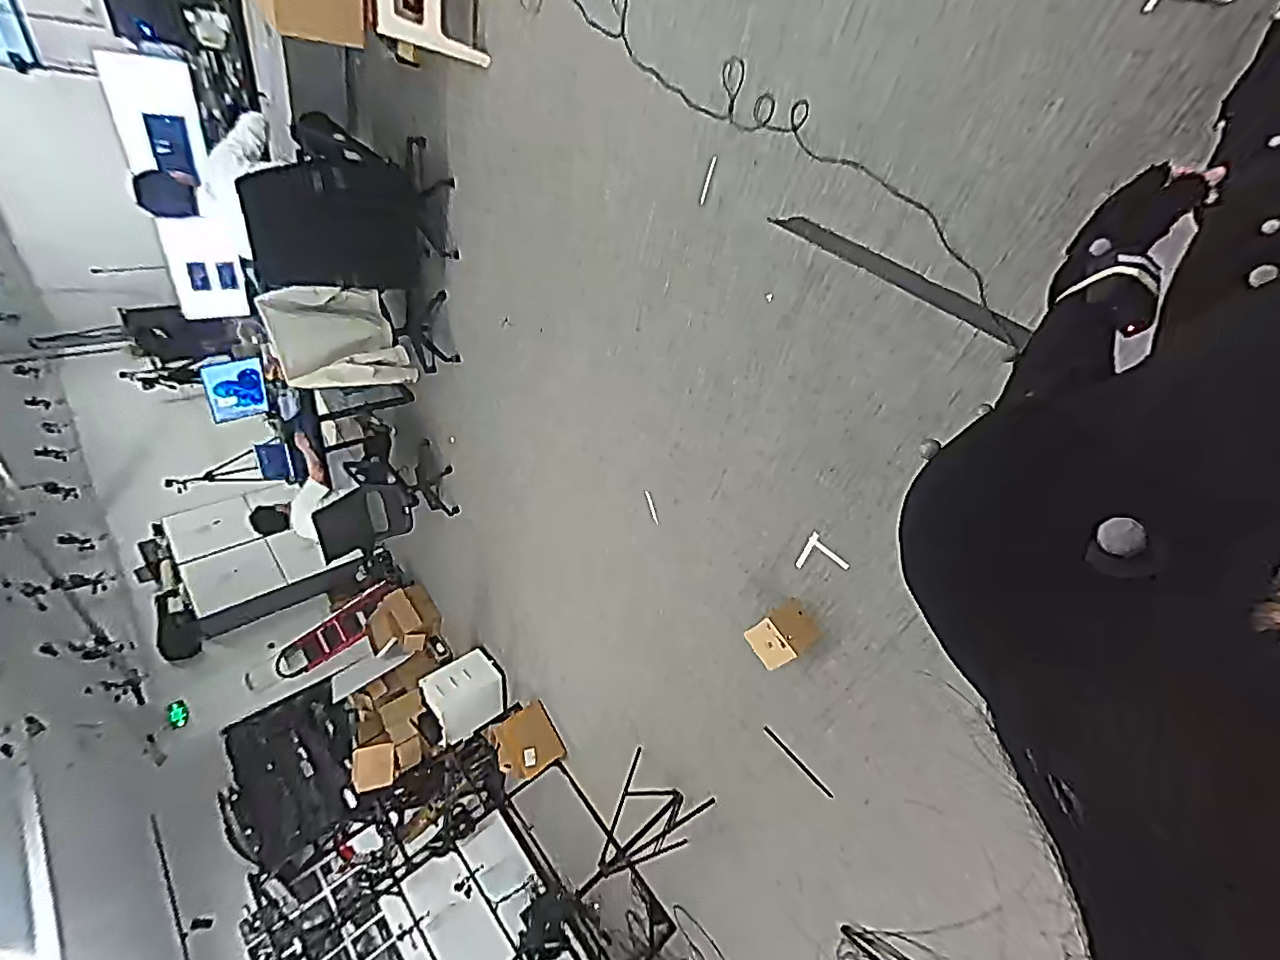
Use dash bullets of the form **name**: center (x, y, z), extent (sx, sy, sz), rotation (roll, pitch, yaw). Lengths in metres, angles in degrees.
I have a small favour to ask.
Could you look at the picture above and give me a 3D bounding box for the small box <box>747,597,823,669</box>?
- **small box**: center (0.541, 0.567, 2.009), extent (0.168, 0.176, 0.179), rotation (53, 141, 16)
